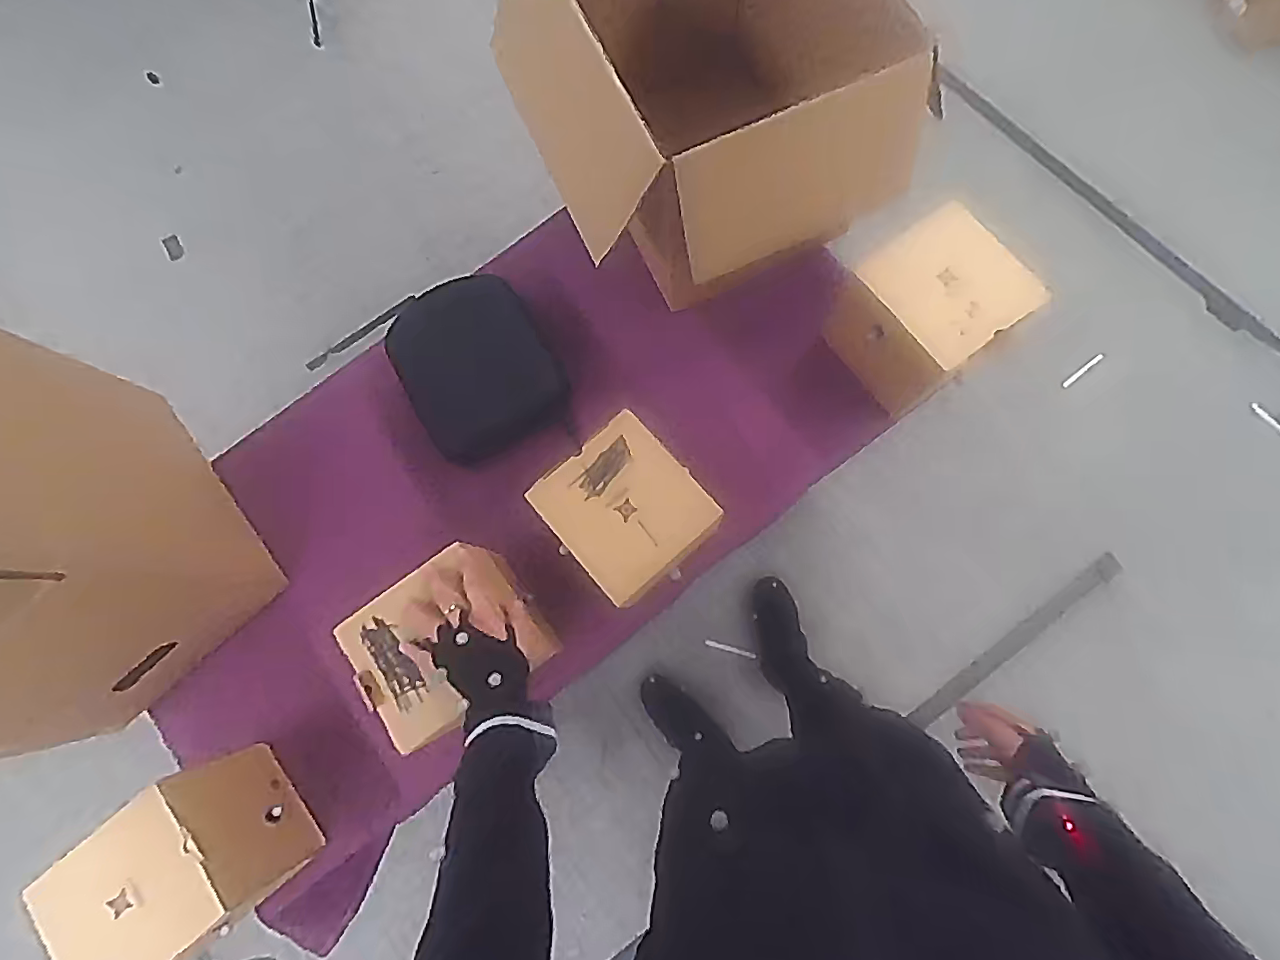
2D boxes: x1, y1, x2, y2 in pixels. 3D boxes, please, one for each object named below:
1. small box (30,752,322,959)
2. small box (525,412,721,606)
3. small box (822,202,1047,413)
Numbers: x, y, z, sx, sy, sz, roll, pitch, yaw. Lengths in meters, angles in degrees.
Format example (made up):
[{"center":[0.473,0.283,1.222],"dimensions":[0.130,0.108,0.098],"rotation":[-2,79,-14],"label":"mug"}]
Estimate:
[{"center":[-0.539,0.470,0.653],"dimensions":[0.179,0.176,0.168],"rotation":[-41,77,-6],"label":"small box"},{"center":[-0.017,0.047,0.707],"dimensions":[0.168,0.176,0.179],"rotation":[-41,78,-4],"label":"small box"},{"center":[0.377,-0.220,0.733],"dimensions":[0.168,0.176,0.179],"rotation":[-35,77,-3],"label":"small box"}]
